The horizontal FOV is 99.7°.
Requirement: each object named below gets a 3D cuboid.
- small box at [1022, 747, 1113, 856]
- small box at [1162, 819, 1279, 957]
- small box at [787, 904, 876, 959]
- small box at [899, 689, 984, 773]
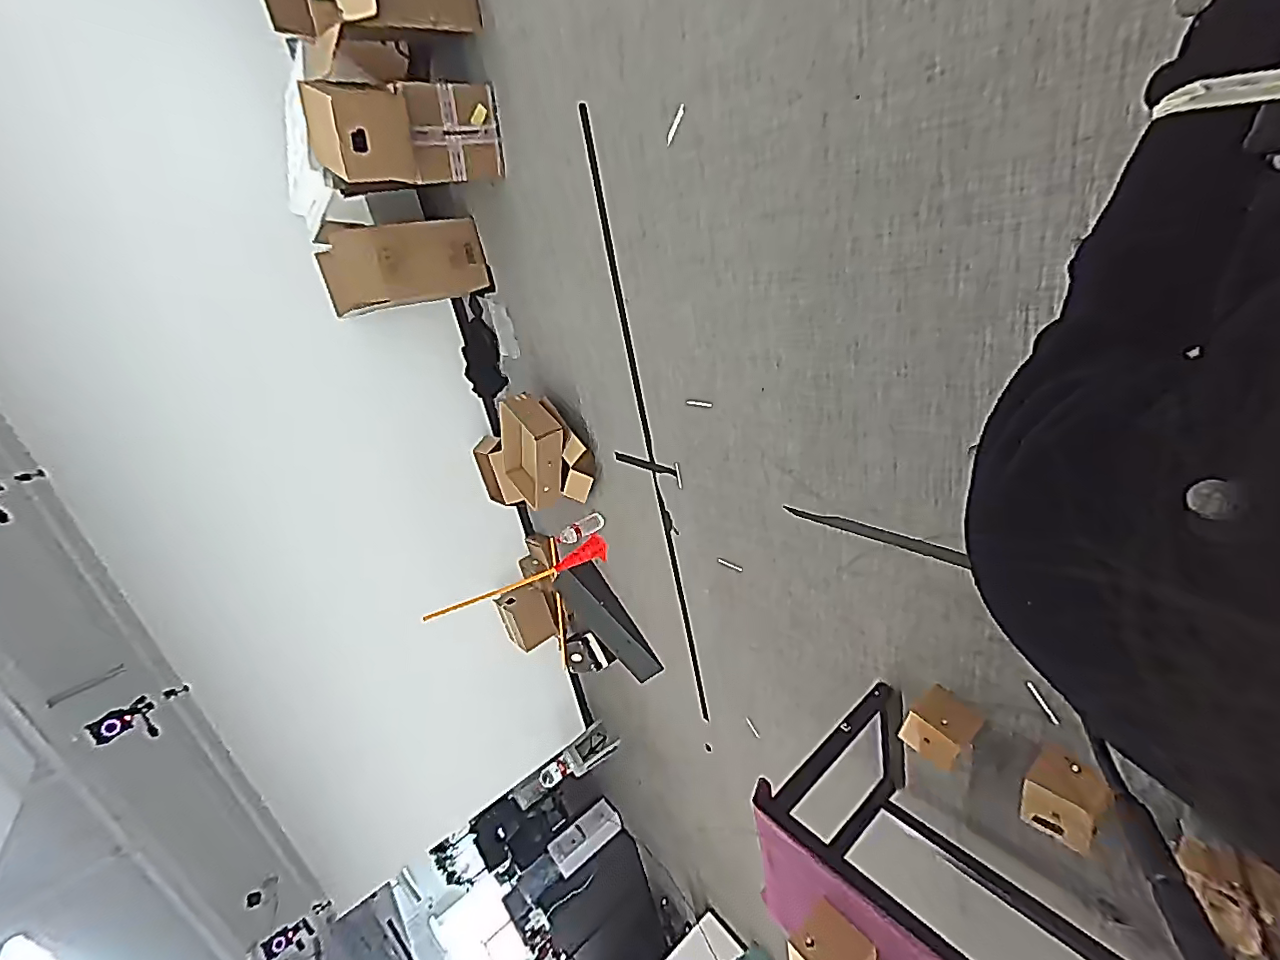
[{"bbox_3d":[1.248,0.931,1.580,0.168,0.176,0.179,17,125,50],"label":"small box"},{"bbox_3d":[1.444,1.002,1.341,0.168,0.176,0.179,19,129,50],"label":"small box"},{"bbox_3d":[0.543,1.360,1.534,0.179,0.176,0.168,20,129,49],"label":"small box"},{"bbox_3d":[1.029,0.846,1.849,0.179,0.176,0.168,34,138,38],"label":"small box"}]
